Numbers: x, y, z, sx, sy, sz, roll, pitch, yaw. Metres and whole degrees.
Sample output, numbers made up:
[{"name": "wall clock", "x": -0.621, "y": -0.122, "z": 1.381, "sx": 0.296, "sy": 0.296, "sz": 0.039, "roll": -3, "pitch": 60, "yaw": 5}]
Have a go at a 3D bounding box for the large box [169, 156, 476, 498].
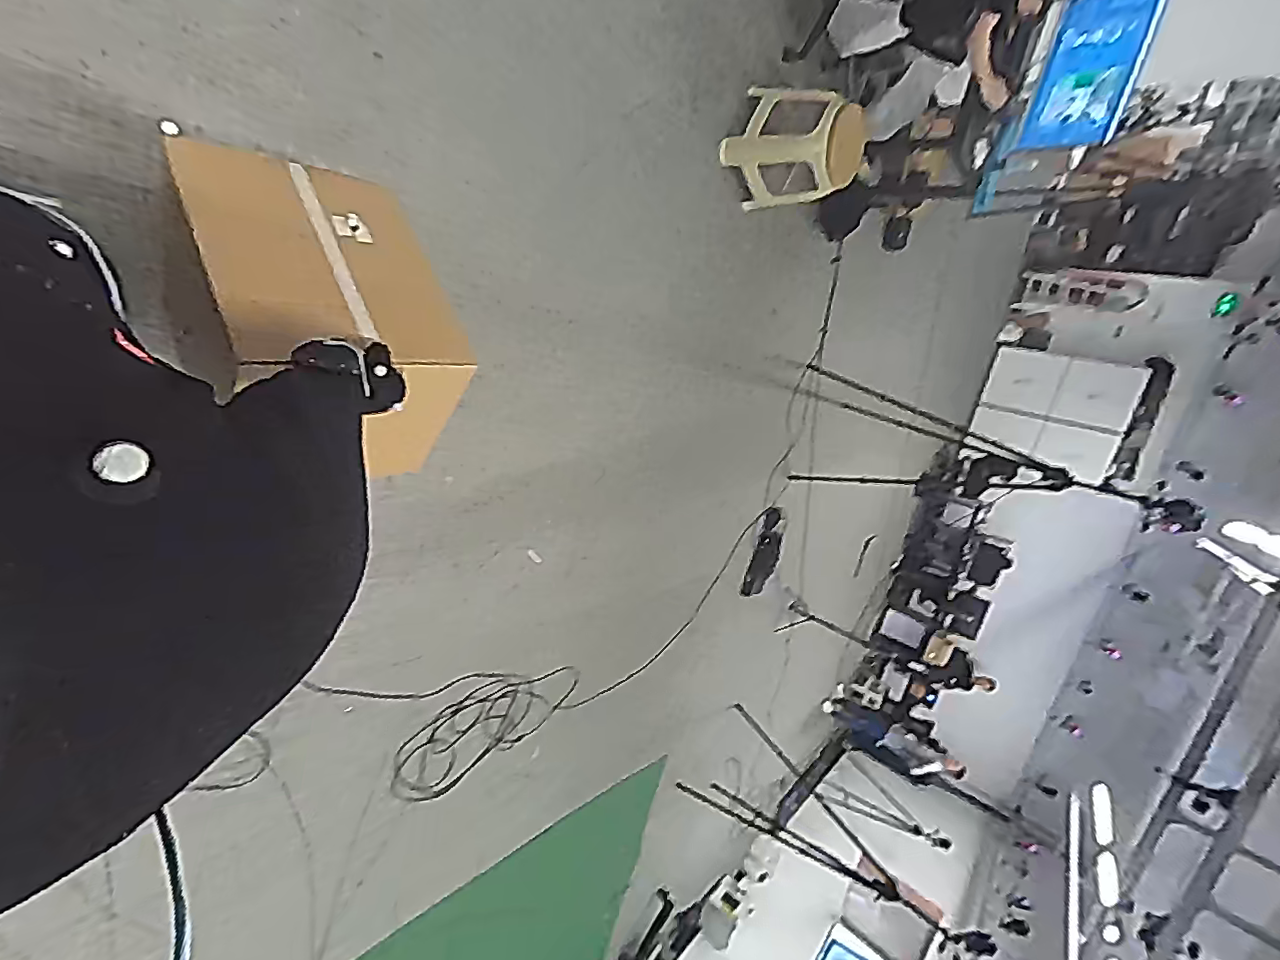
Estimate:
[{"name": "large box", "x": -0.537, "y": -0.234, "z": 0.902, "sx": 0.320, "sy": 0.408, "sz": 0.320, "roll": -12, "pitch": 156, "yaw": -46}]
